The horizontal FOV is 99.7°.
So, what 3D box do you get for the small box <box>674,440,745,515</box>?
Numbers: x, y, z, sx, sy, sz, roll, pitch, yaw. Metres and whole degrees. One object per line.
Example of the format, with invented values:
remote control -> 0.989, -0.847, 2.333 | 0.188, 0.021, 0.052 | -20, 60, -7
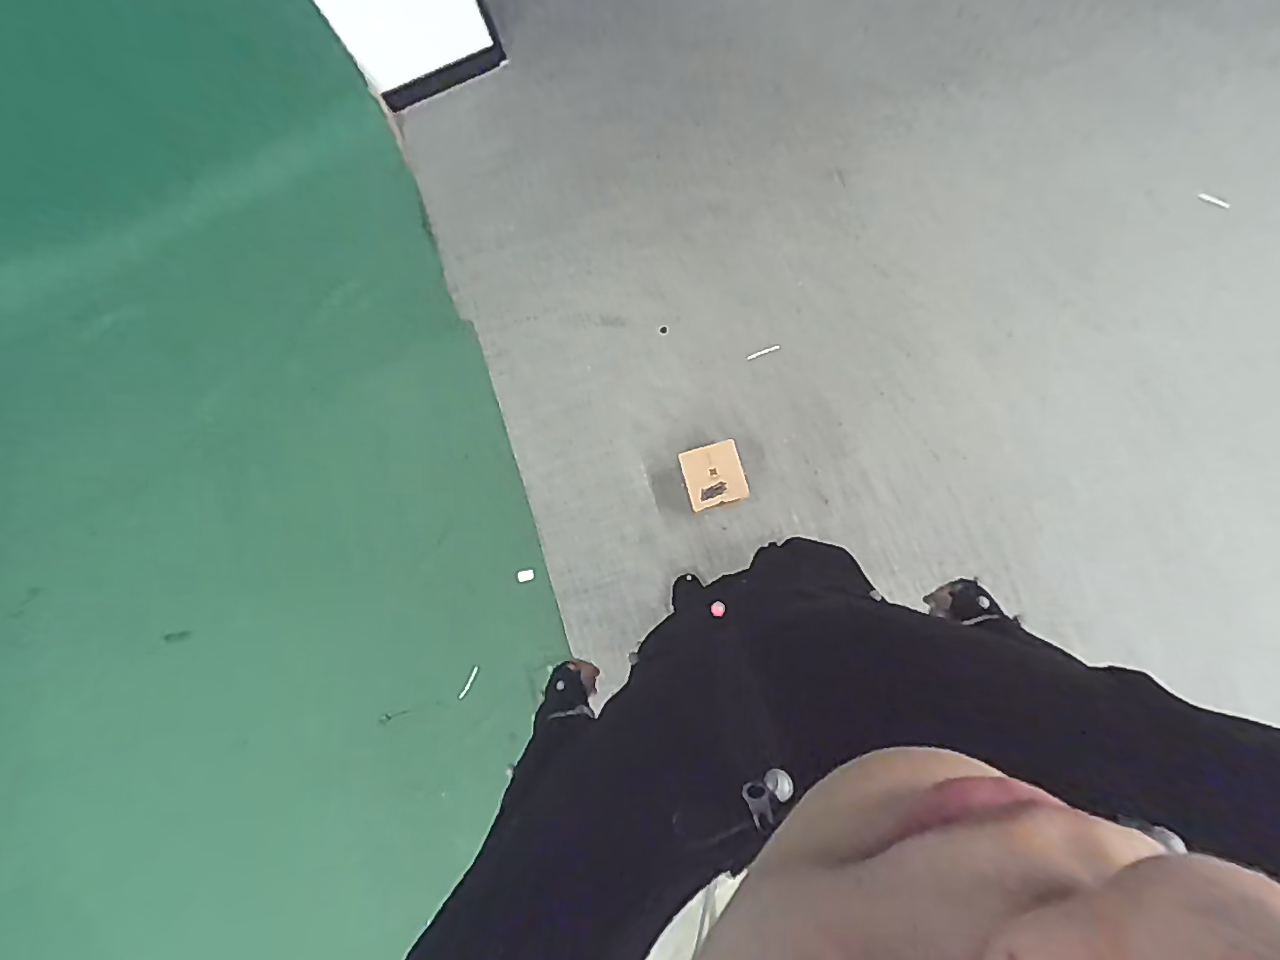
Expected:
small box -> 0.204, 0.001, 1.593 | 0.168, 0.176, 0.179 | -15, 78, 4
